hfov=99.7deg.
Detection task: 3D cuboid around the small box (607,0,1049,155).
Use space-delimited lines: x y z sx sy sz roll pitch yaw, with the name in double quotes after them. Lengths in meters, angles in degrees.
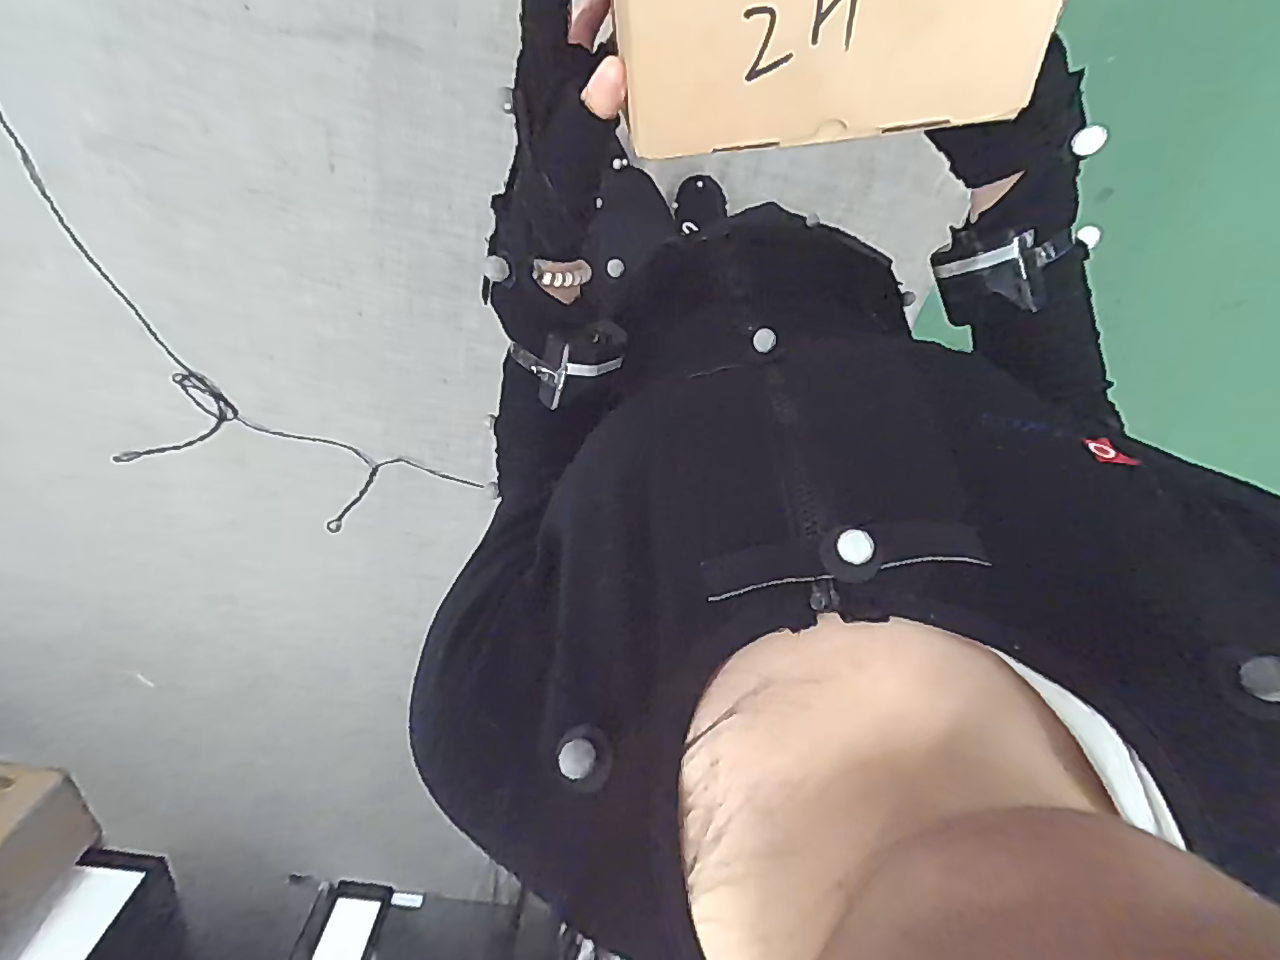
0.065 -0.264 0.235 0.168 0.176 0.179 -7 132 1 "small box"
